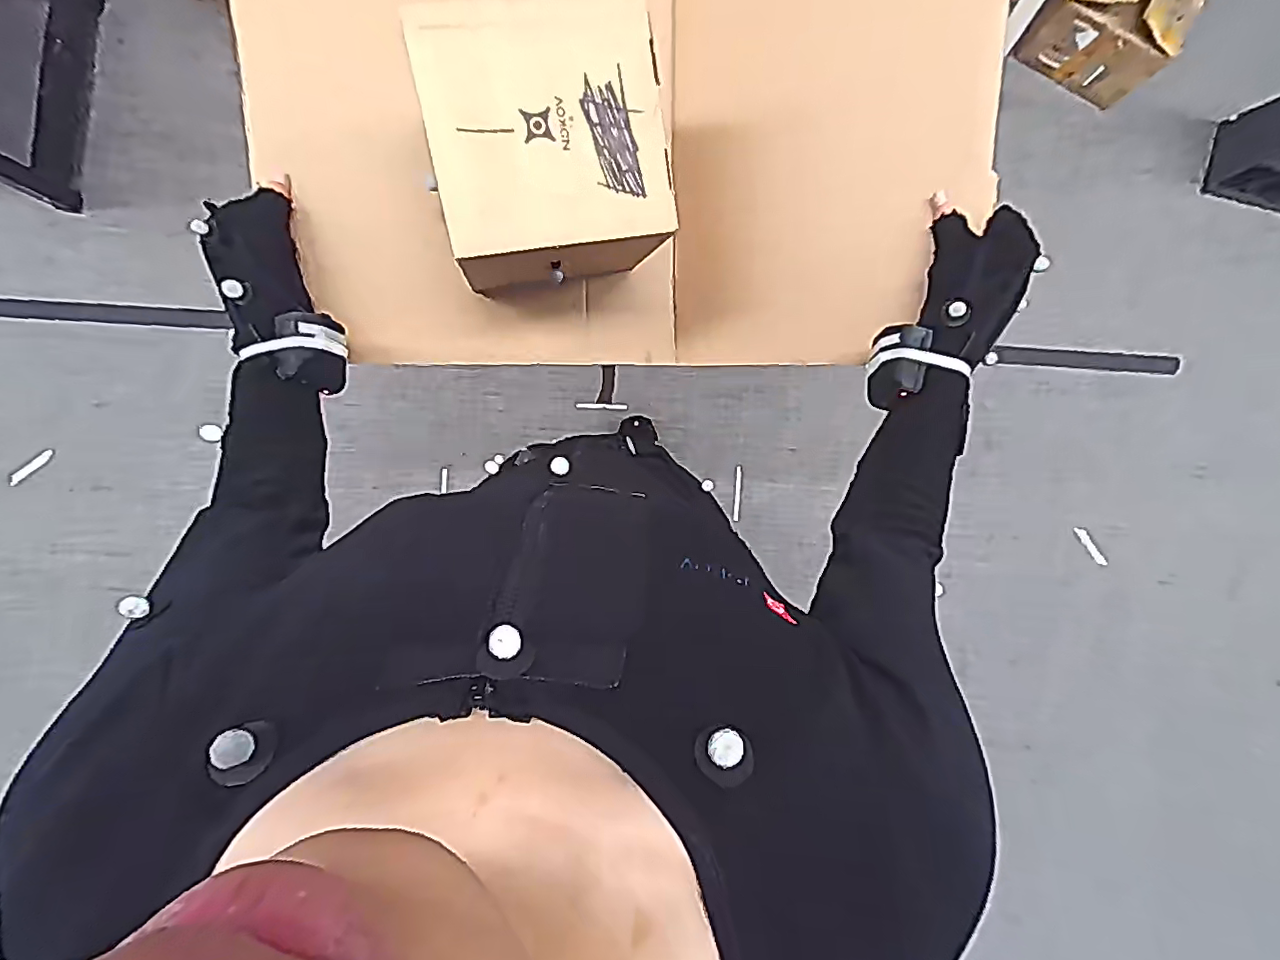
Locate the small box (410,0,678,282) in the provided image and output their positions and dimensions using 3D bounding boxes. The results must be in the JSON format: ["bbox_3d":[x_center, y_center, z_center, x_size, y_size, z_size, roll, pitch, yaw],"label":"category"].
[{"bbox_3d":[-0.081,-0.281,0.480,0.179,0.176,0.168,-12,104,-10],"label":"small box"}]
